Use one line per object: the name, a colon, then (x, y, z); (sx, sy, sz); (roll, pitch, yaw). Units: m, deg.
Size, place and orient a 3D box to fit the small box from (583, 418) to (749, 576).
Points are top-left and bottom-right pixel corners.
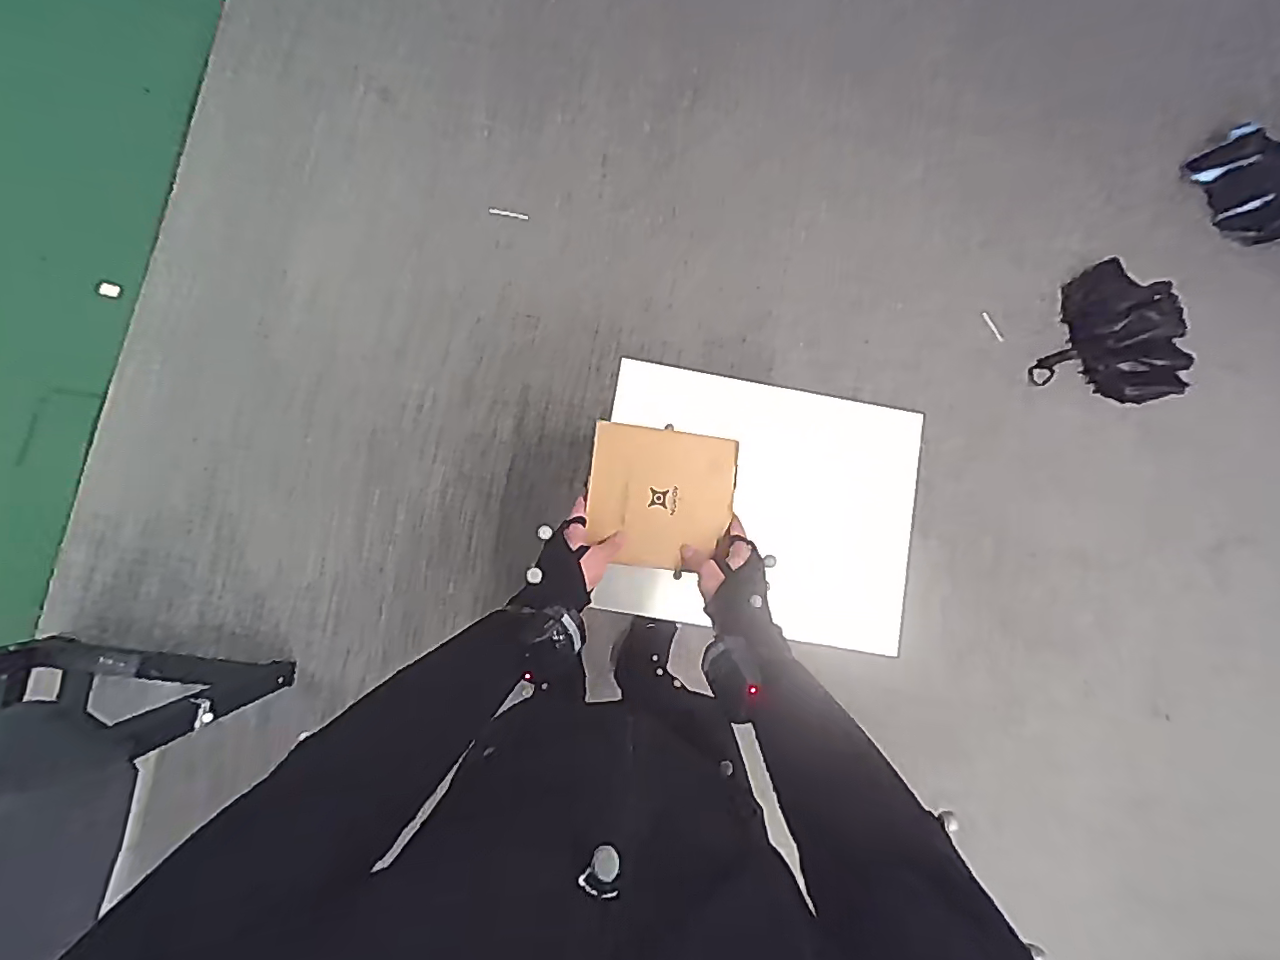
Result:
small box: (0.025, 0.027, 0.701); (0.179, 0.176, 0.168); (7, 83, -7)
